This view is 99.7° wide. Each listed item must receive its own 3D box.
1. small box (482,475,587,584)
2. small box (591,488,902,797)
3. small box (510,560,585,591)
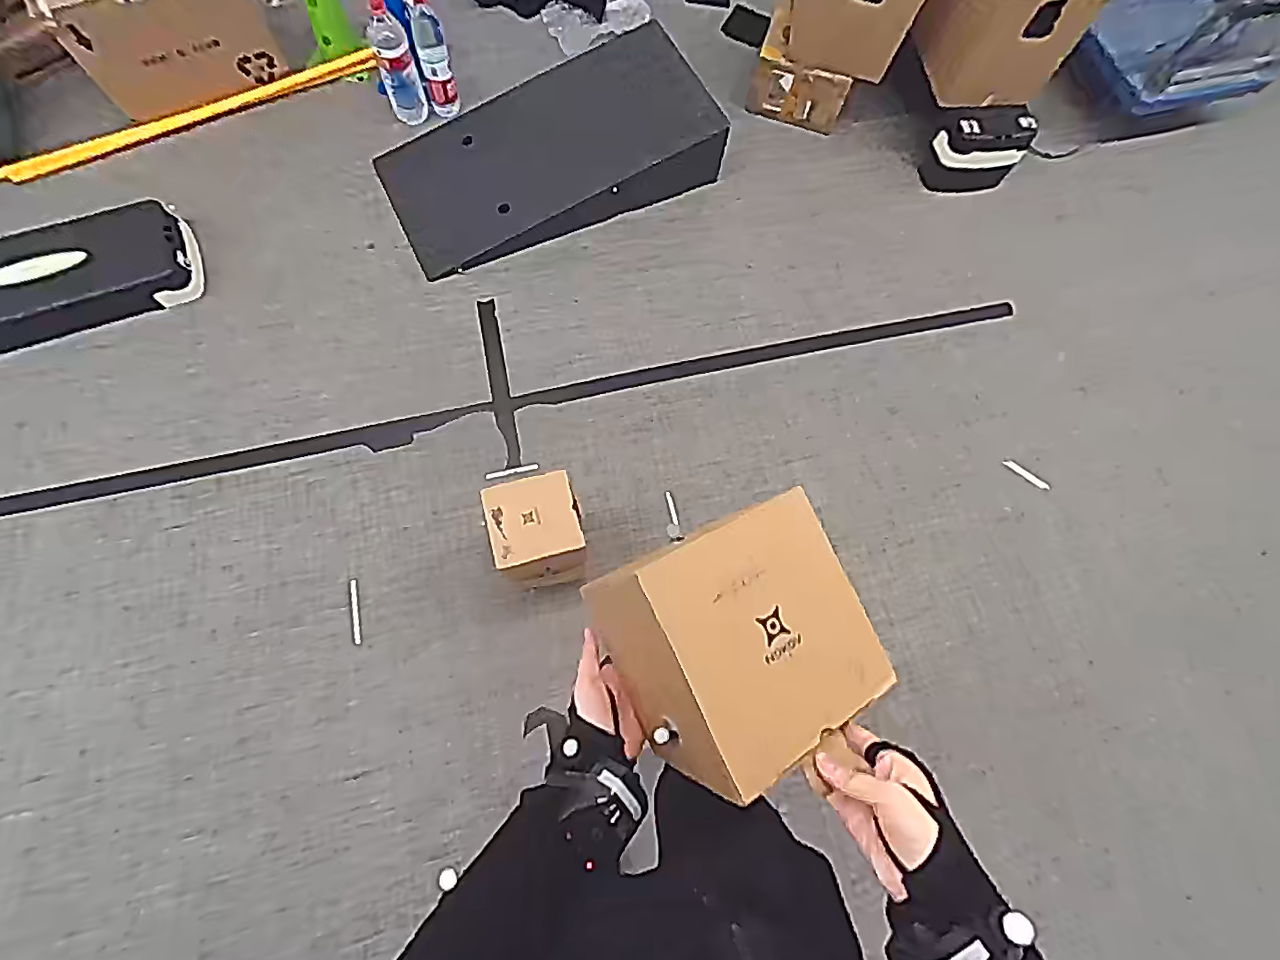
[{"bbox_3d":[-0.213,0.106,1.115,0.179,0.176,0.168,-14,73,-10],"label":"small box"},{"bbox_3d":[0.078,0.129,0.475,0.168,0.176,0.179,-22,83,-25],"label":"small box"},{"bbox_3d":[-0.222,0.160,1.270,0.168,0.176,0.179,-9,72,-8],"label":"small box"}]
